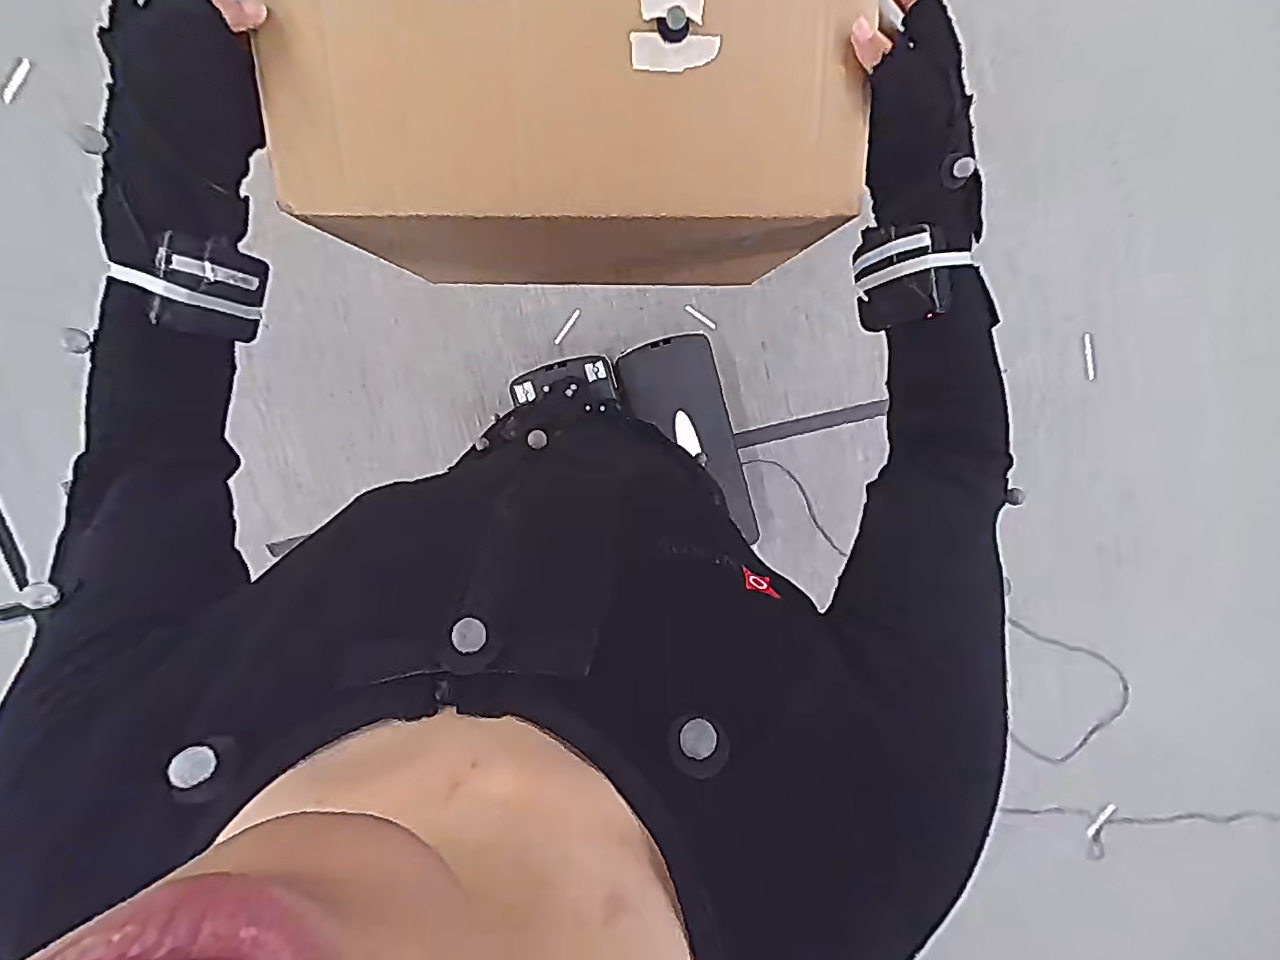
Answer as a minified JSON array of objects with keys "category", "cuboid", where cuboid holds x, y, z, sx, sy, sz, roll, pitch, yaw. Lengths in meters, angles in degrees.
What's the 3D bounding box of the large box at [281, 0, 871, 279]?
[{"category":"large box","cuboid":[-0.047,-0.377,0.504,0.408,0.320,0.320,-1,102,-3]}]
